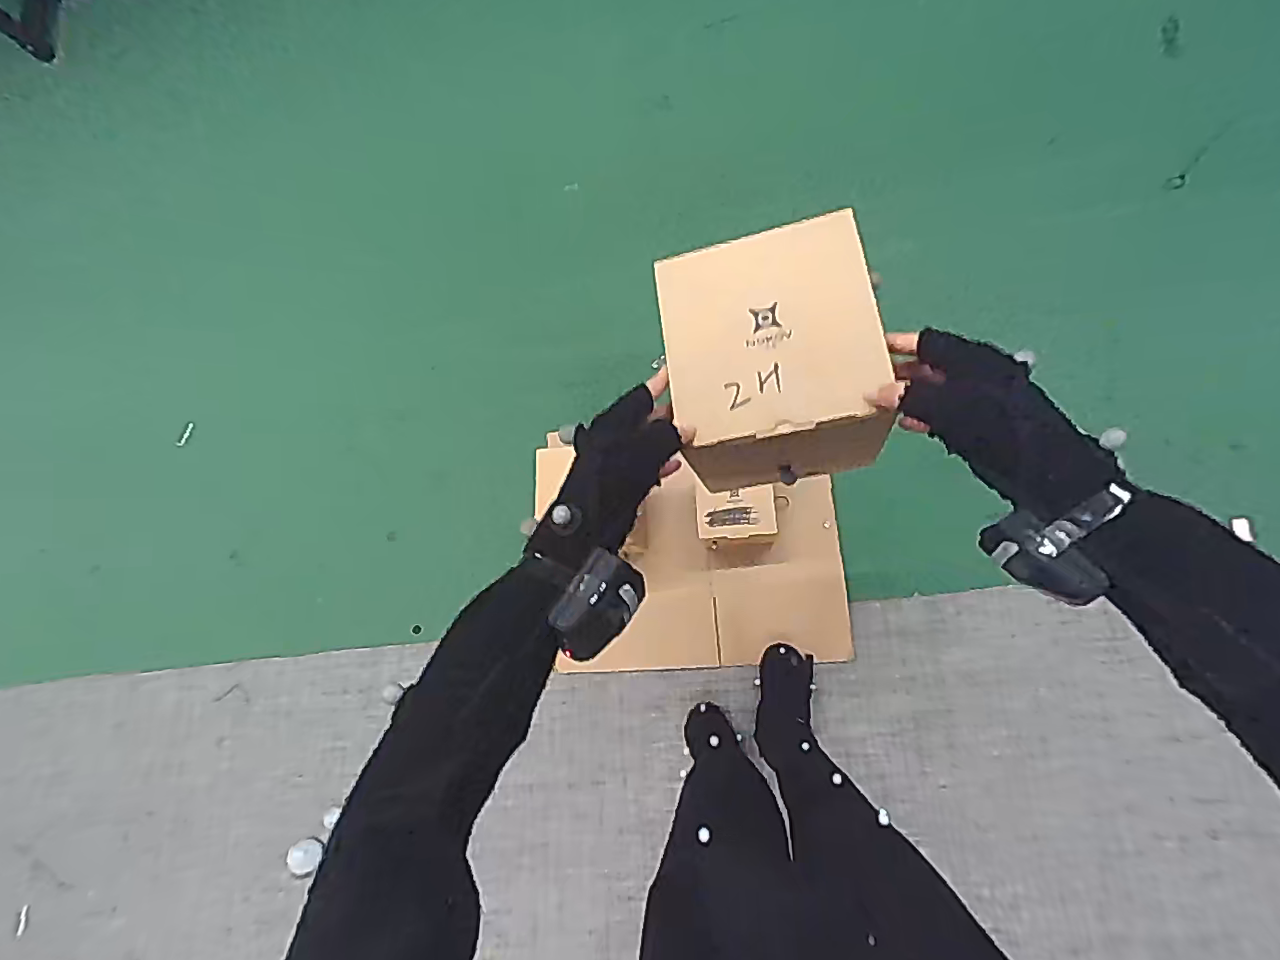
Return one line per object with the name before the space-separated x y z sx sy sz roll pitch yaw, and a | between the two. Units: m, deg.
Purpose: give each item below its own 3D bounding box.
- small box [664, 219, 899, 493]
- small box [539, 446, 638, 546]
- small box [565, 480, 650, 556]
small box | 0.127 -0.100 0.511 0.168 0.176 0.179 -10 73 15
small box | -0.100 0.039 1.118 0.168 0.176 0.179 -3 77 11
small box | -0.073 0.085 1.272 0.168 0.176 0.179 -5 76 11
